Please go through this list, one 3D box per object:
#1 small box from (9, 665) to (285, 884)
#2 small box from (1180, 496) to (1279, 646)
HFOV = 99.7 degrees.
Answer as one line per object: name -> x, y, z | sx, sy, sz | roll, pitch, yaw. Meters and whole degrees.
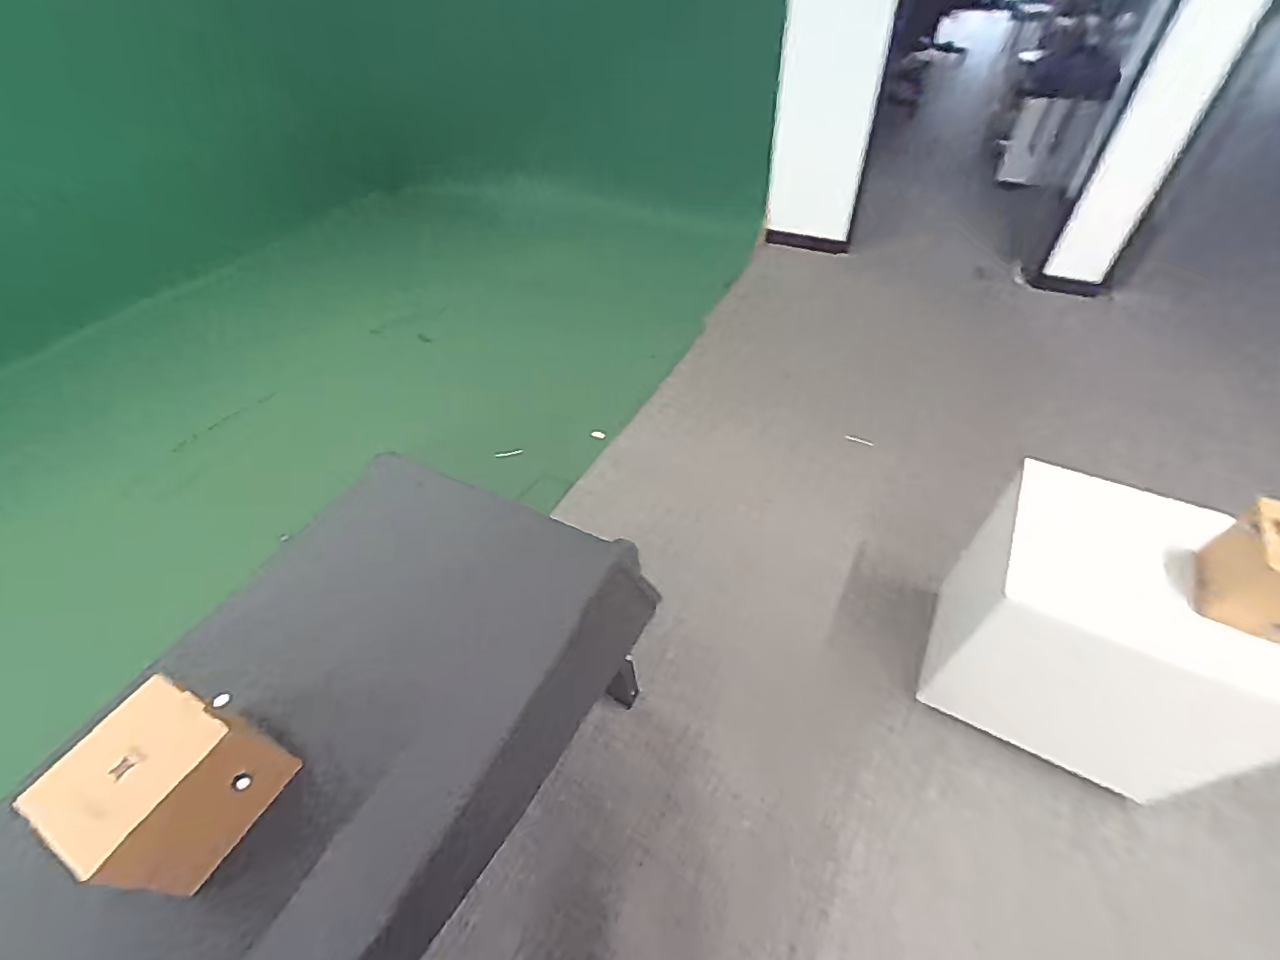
small box -> -0.602, 0.378, 0.694 | 0.168, 0.176, 0.179 | 20, 55, 20
small box -> 1.103, 0.165, 0.937 | 0.179, 0.176, 0.168 | 23, 55, 21
